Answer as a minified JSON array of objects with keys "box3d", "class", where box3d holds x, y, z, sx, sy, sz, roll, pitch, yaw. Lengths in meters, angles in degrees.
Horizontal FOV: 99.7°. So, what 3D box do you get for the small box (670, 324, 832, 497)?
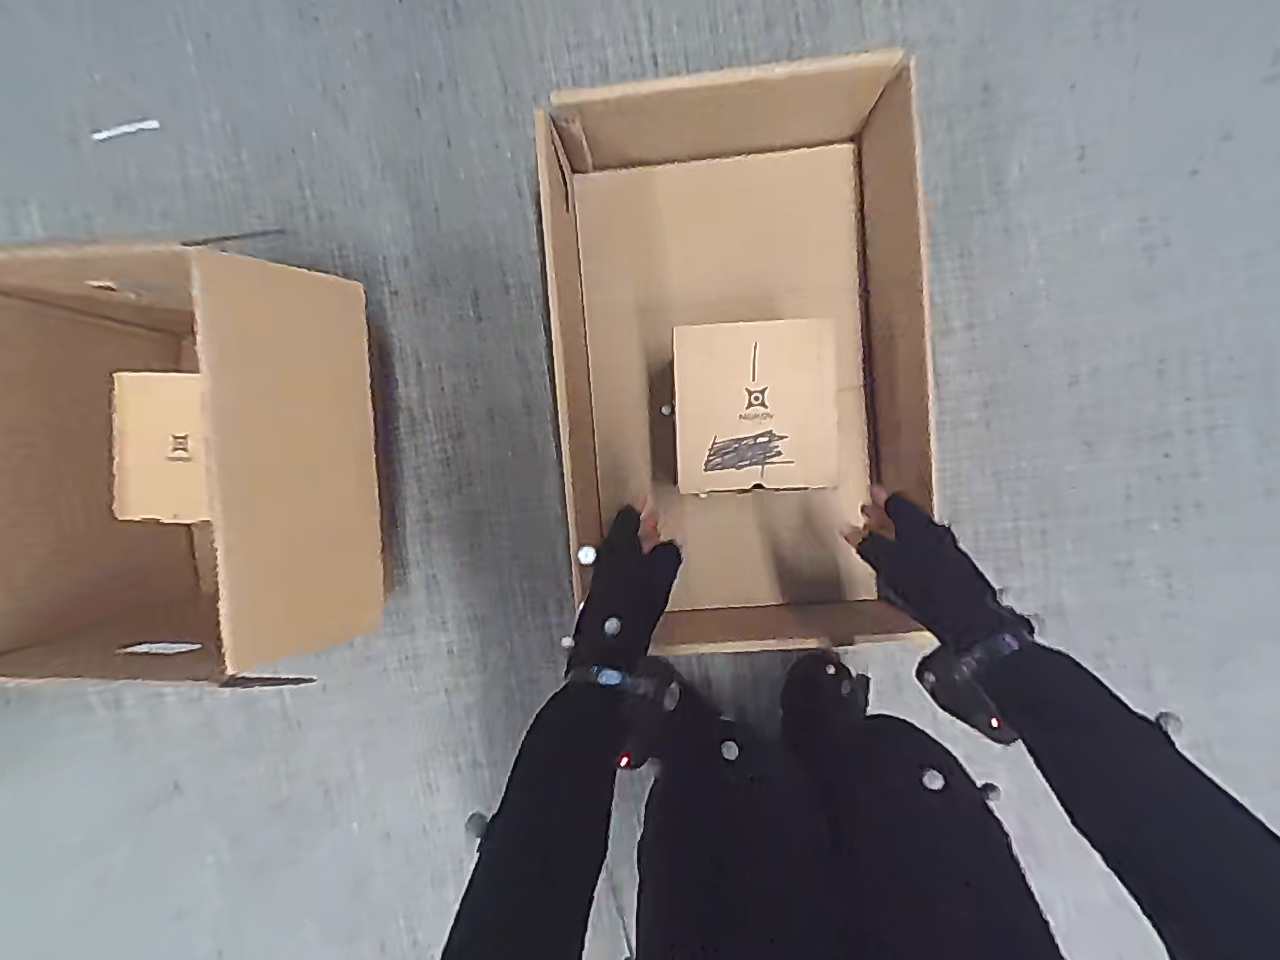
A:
[{"box3d":[0.121,-0.073,0.638,0.168,0.176,0.179,-2,91,4],"class":"small box"}]
